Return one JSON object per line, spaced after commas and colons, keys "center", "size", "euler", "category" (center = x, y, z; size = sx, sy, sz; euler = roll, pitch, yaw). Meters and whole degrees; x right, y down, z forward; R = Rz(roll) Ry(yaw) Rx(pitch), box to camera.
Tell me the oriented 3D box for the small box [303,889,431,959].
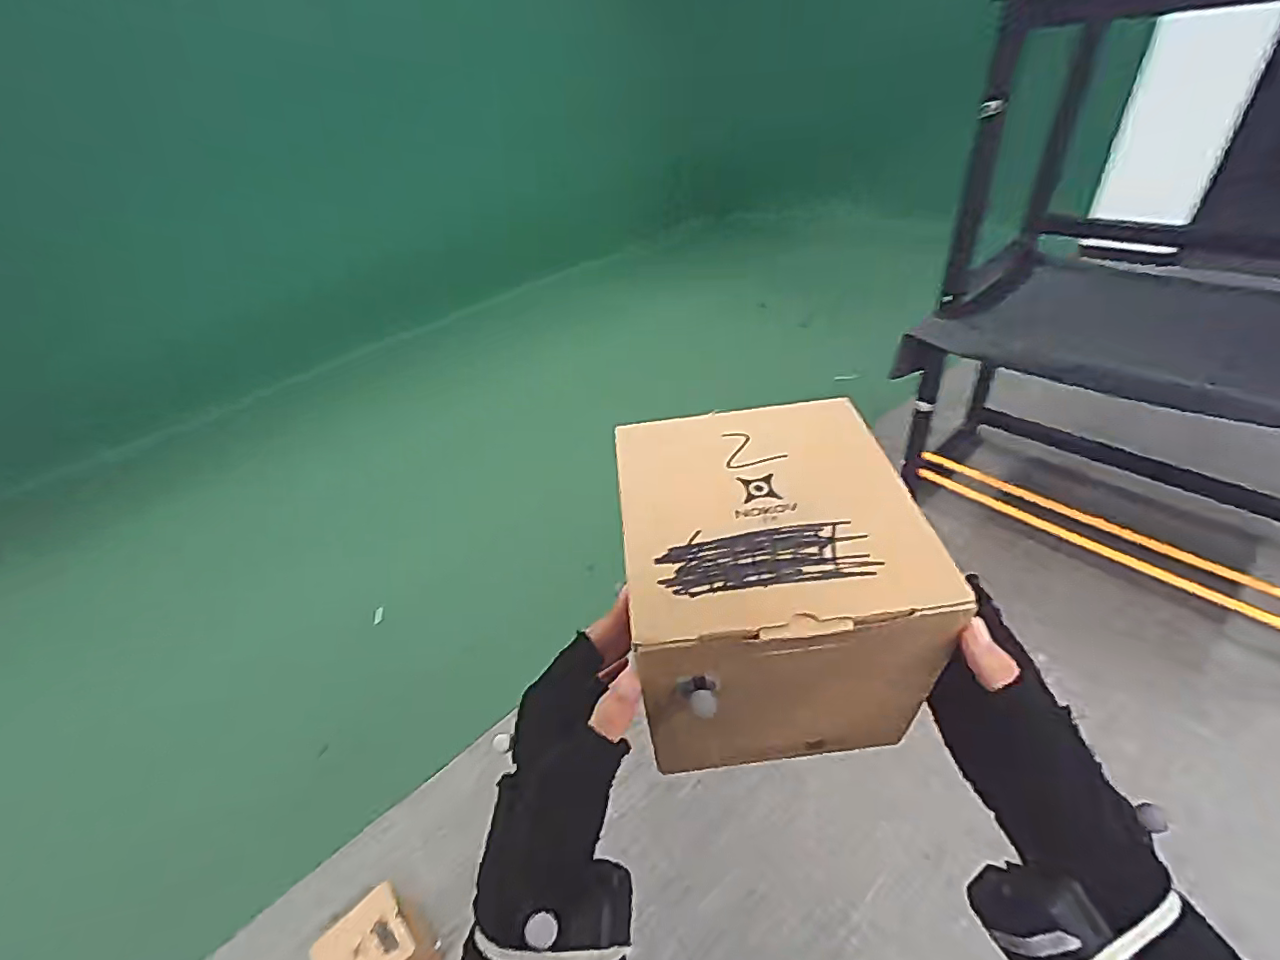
{"center": [-0.560, 1.026, 1.138], "size": [0.179, 0.176, 0.168], "euler": [-34, 44, -27], "category": "small box"}
